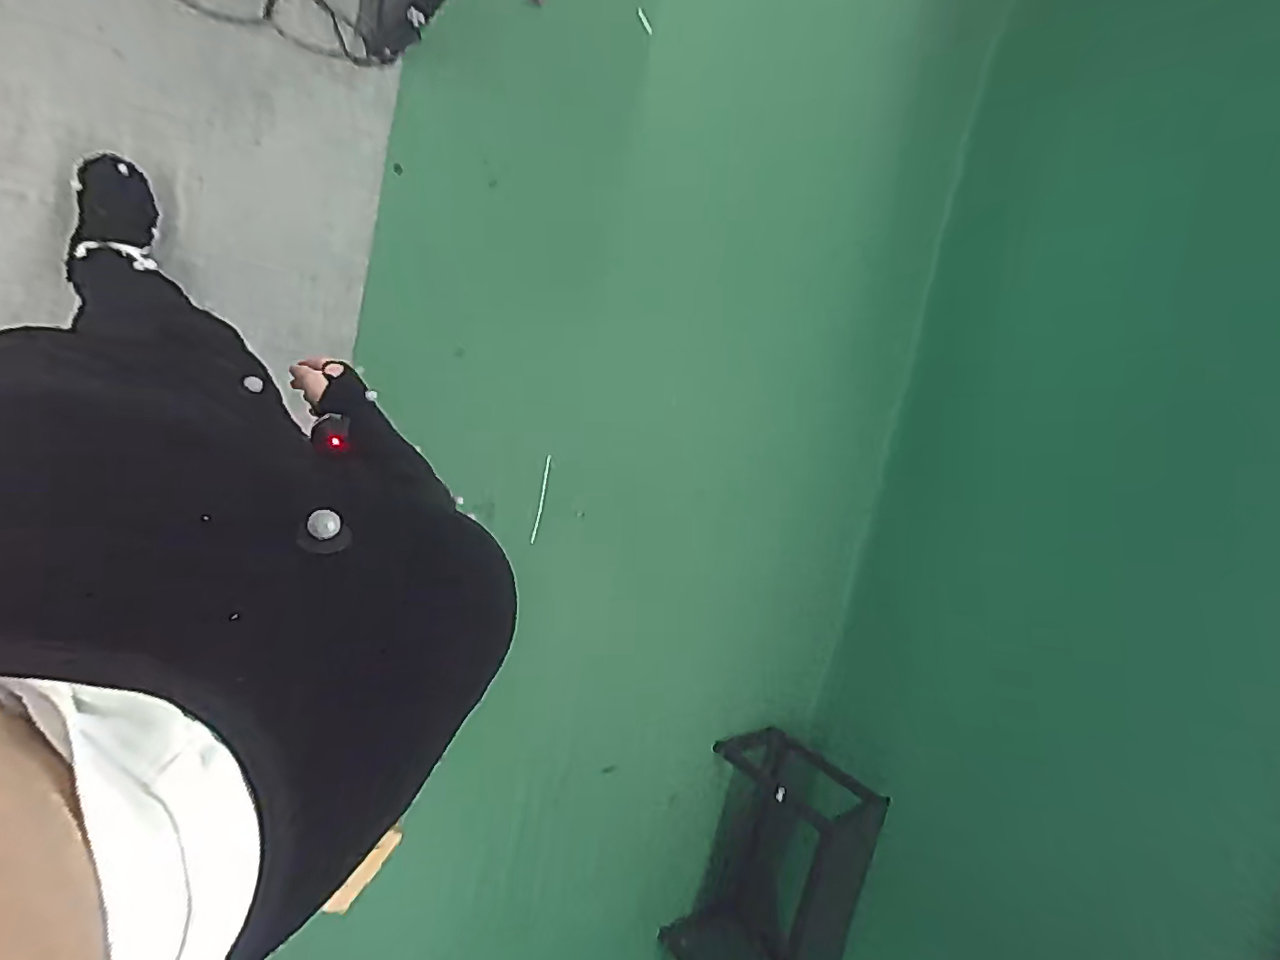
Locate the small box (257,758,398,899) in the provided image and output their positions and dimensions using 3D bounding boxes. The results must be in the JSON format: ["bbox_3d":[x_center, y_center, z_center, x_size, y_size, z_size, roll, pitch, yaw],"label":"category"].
[{"bbox_3d":[-0.644,0.710,1.115,0.168,0.176,0.179,-51,130,-16],"label":"small box"}]
